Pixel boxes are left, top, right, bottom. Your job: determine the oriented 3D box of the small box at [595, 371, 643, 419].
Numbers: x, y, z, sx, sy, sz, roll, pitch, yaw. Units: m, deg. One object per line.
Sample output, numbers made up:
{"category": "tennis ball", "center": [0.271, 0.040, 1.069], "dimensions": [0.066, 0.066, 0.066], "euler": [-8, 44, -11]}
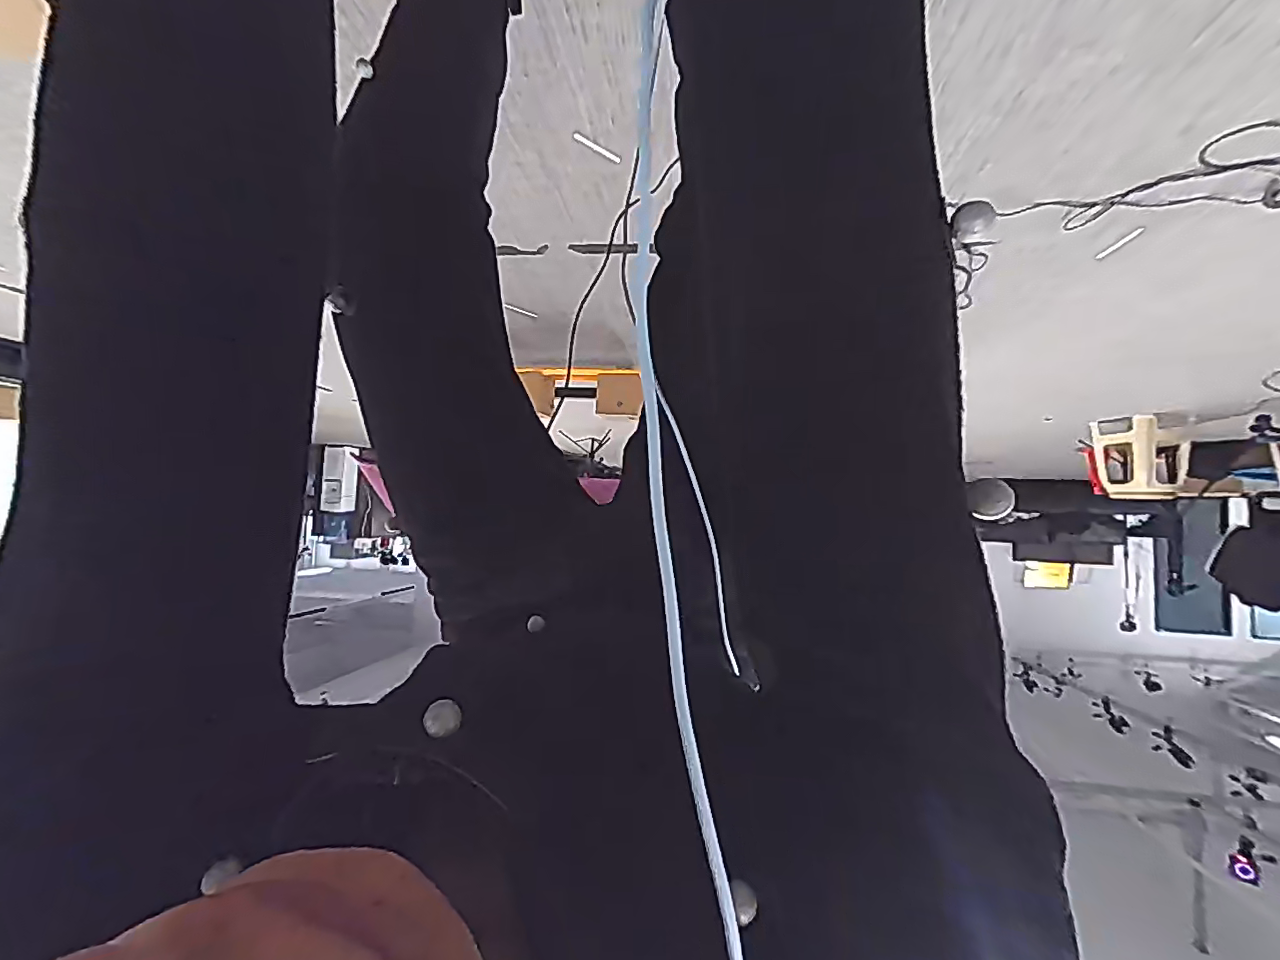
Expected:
{"category": "small box", "center": [-0.084, -0.355, 2.260], "dimensions": [0.179, 0.176, 0.168], "euler": [4, 178, 10]}
